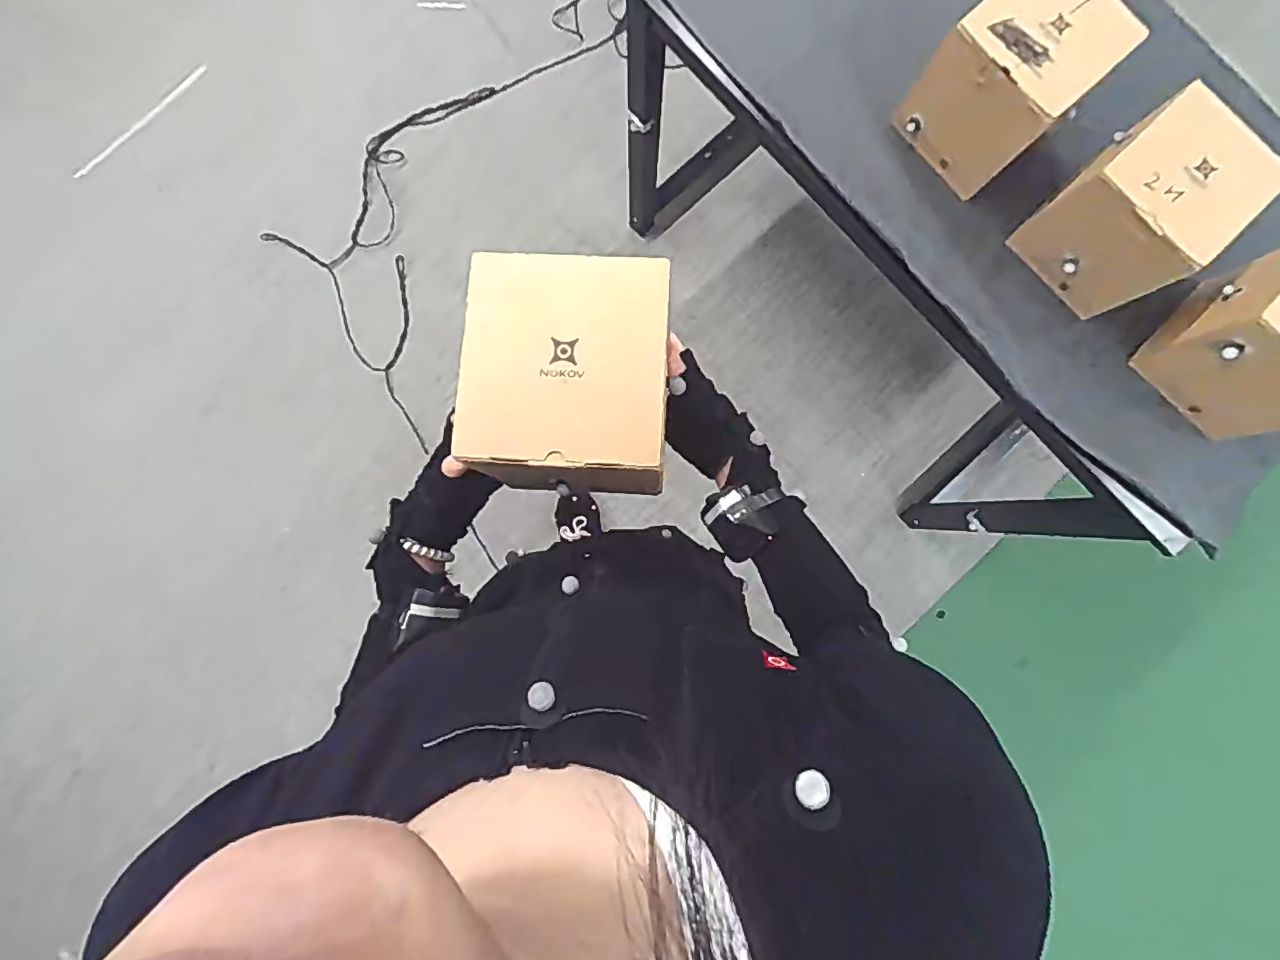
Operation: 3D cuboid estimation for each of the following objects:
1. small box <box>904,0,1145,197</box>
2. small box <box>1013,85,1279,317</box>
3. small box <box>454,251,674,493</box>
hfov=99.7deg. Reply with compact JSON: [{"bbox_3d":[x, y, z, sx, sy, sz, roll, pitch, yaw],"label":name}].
[{"bbox_3d":[0.493,-0.532,0.731,0.179,0.176,0.168,-42,88,-4],"label":"small box"},{"bbox_3d":[0.660,-0.356,0.722,0.179,0.176,0.168,-43,88,-4],"label":"small box"},{"bbox_3d":[-0.058,-0.087,0.507,0.168,0.176,0.179,2,83,2],"label":"small box"}]
